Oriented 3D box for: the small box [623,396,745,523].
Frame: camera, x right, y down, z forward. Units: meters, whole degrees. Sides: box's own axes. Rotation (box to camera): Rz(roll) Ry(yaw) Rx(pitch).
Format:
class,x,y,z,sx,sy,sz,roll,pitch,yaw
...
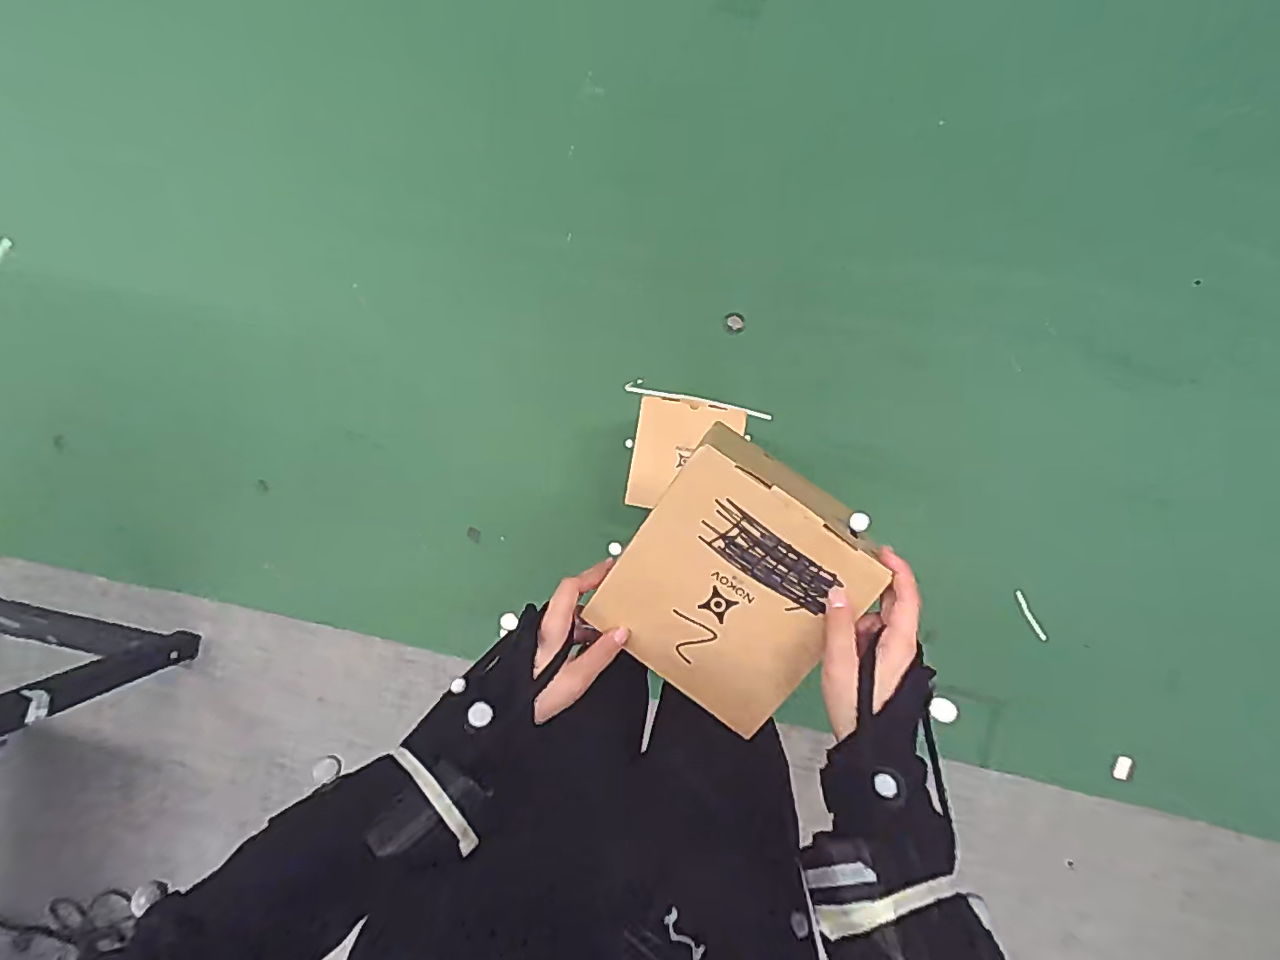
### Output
class,x,y,z,sx,sy,sz,roll,pitch,yaw
small box,0.074,-0.035,0.915,0.168,0.176,0.179,10,92,3
